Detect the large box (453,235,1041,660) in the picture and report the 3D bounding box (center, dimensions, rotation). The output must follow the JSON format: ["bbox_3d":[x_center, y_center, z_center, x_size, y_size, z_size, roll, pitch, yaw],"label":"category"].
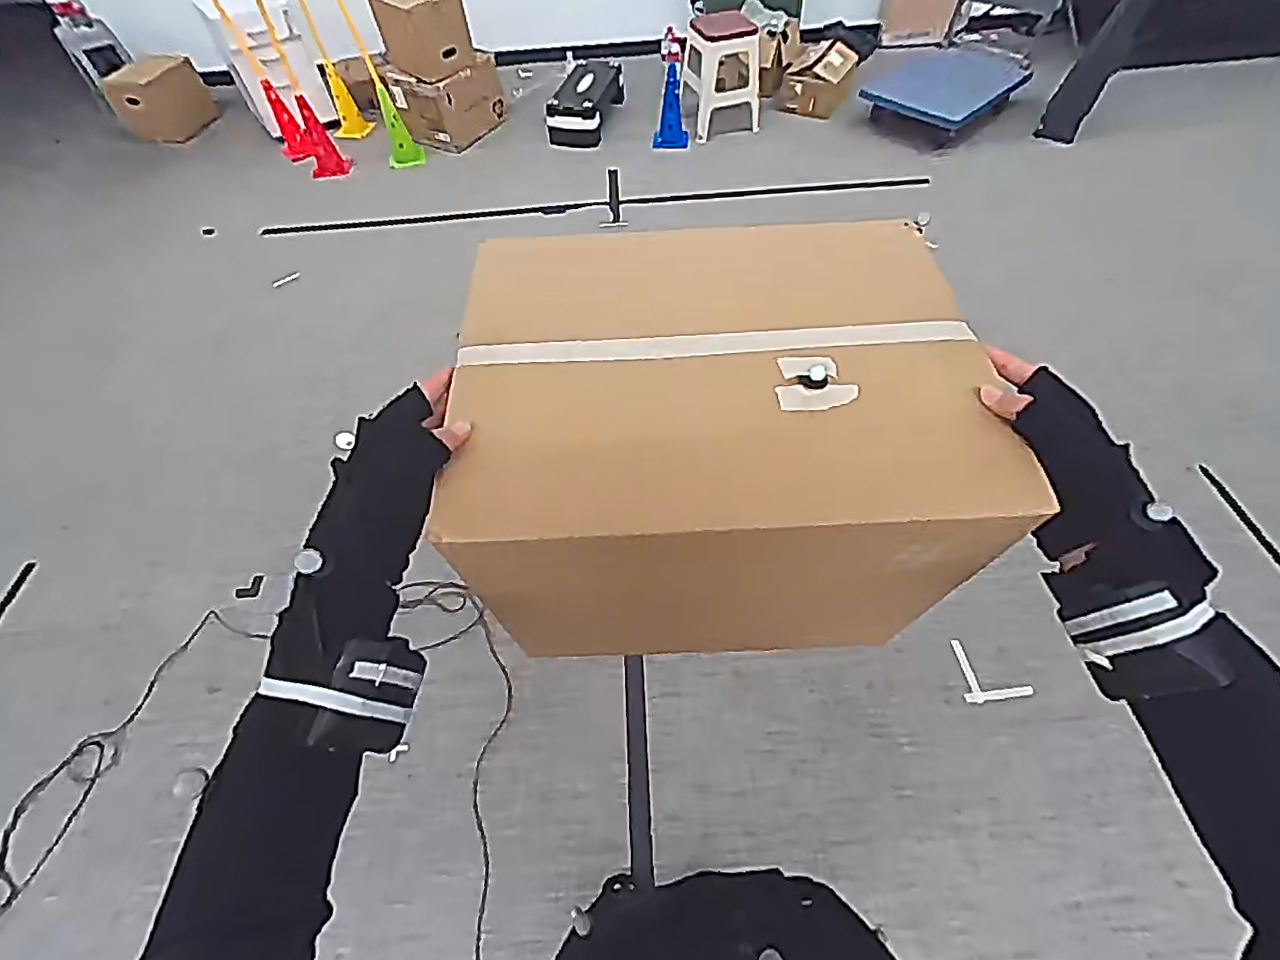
[{"bbox_3d":[0.066,-0.016,0.561,0.408,0.320,0.320,-3,59,-1],"label":"large box"}]
